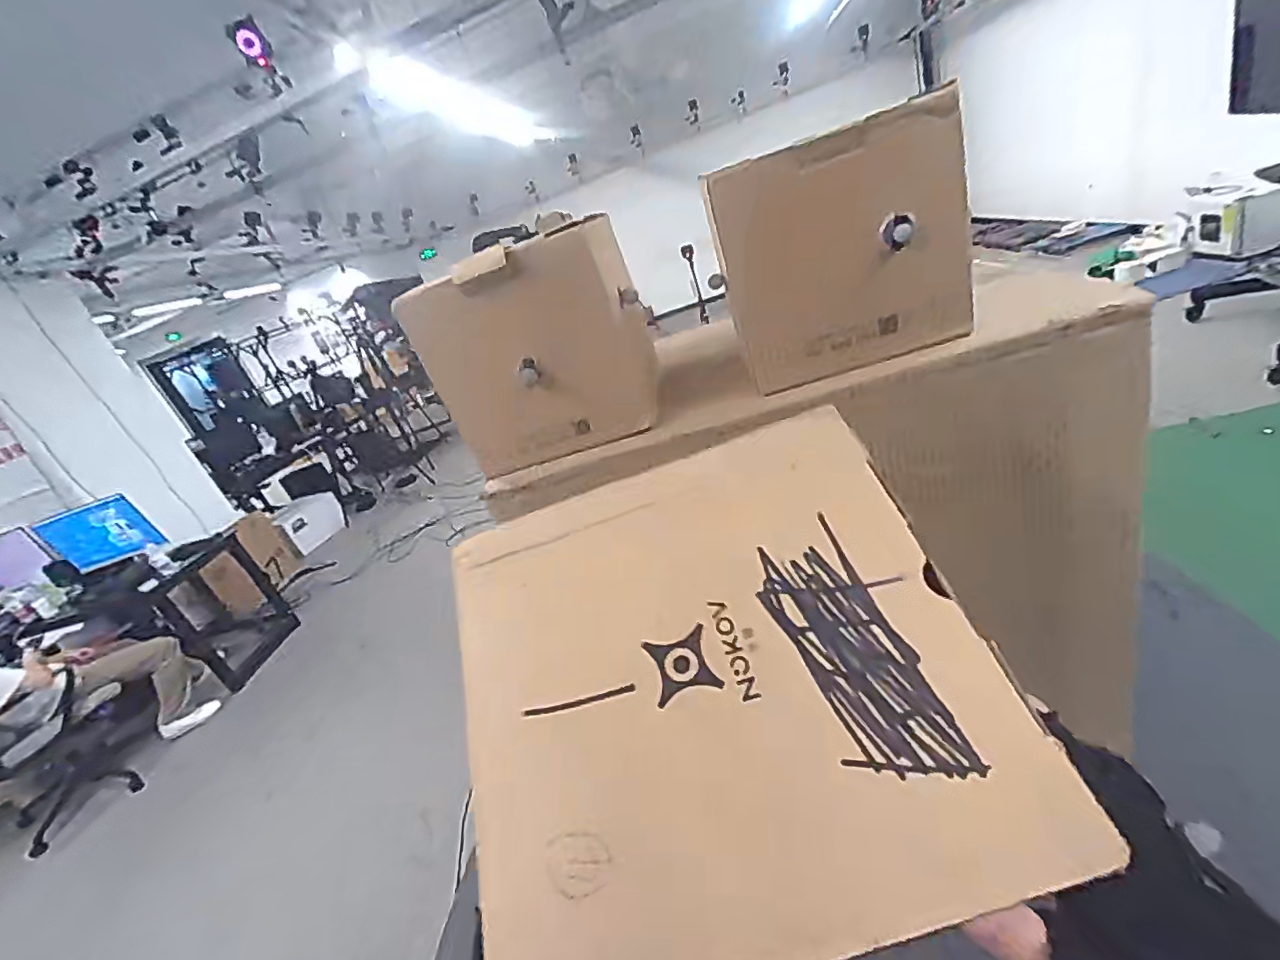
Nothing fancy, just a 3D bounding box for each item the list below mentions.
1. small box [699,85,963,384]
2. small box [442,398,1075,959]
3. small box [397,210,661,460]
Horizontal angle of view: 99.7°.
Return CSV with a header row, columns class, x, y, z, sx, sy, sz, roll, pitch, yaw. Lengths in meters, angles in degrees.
class,x,y,z,sx,sy,sz,roll,pitch,yaw
small box,0.152,-0.194,0.459,0.168,0.176,0.179,-14,25,11
small box,0.032,0.097,0.254,0.179,0.176,0.168,-19,56,2
small box,-0.083,-0.133,0.513,0.168,0.176,0.179,-15,27,12
